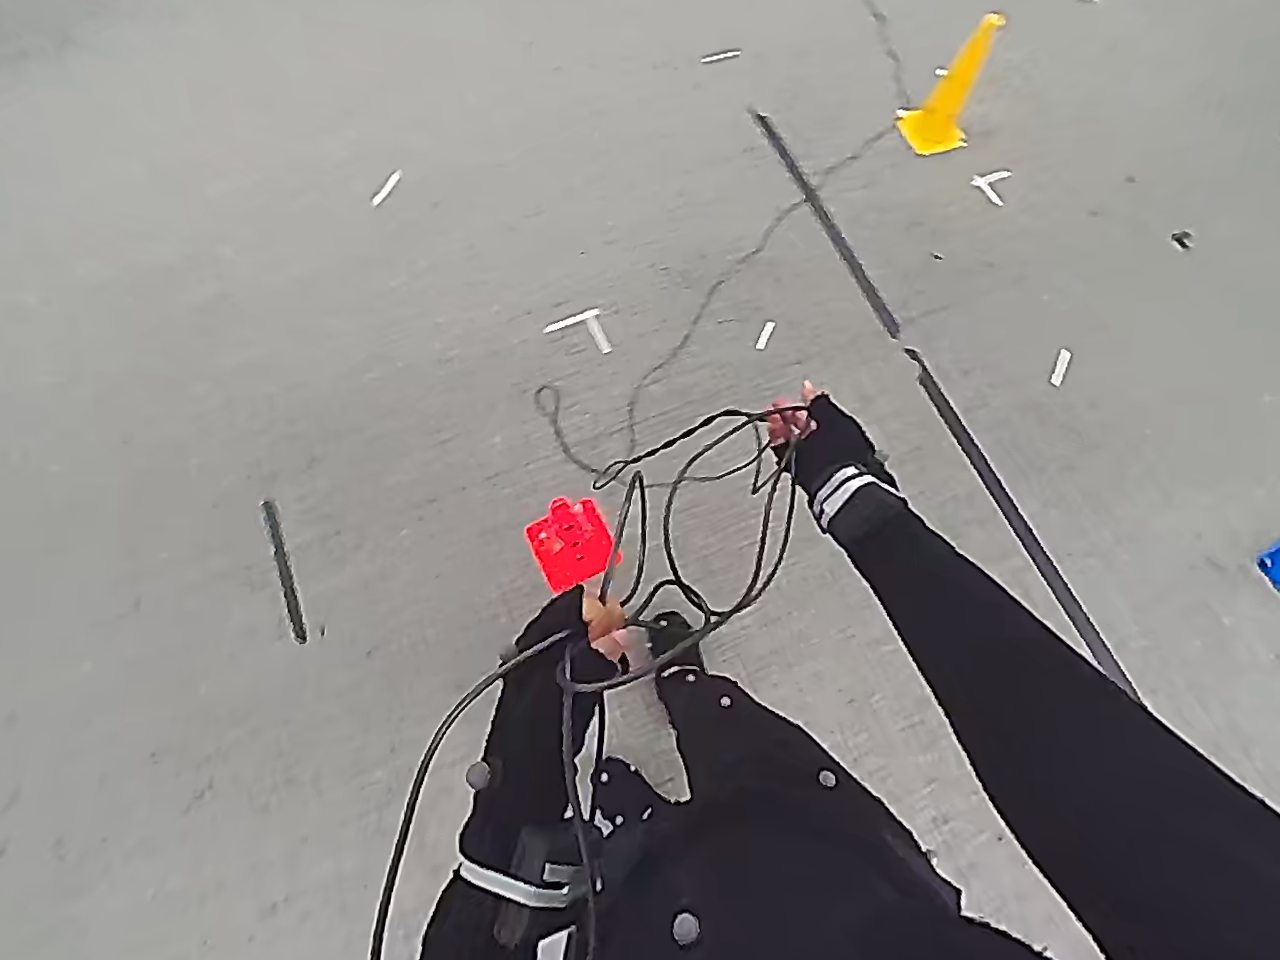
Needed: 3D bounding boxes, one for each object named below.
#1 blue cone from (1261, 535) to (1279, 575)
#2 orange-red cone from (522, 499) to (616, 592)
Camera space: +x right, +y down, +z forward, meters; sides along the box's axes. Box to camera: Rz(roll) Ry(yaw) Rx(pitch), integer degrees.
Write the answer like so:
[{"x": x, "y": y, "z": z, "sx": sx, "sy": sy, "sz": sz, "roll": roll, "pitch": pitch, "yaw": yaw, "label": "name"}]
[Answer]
[{"x": 1.780, "y": 0.174, "z": 1.279, "sx": 0.192, "sy": 0.380, "sz": 0.193, "roll": -27, "pitch": 74, "yaw": -10, "label": "blue cone"}, {"x": -0.176, "y": 0.112, "z": 1.225, "sx": 0.198, "sy": 0.360, "sz": 0.199, "roll": -26, "pitch": 75, "yaw": -10, "label": "orange-red cone"}]
